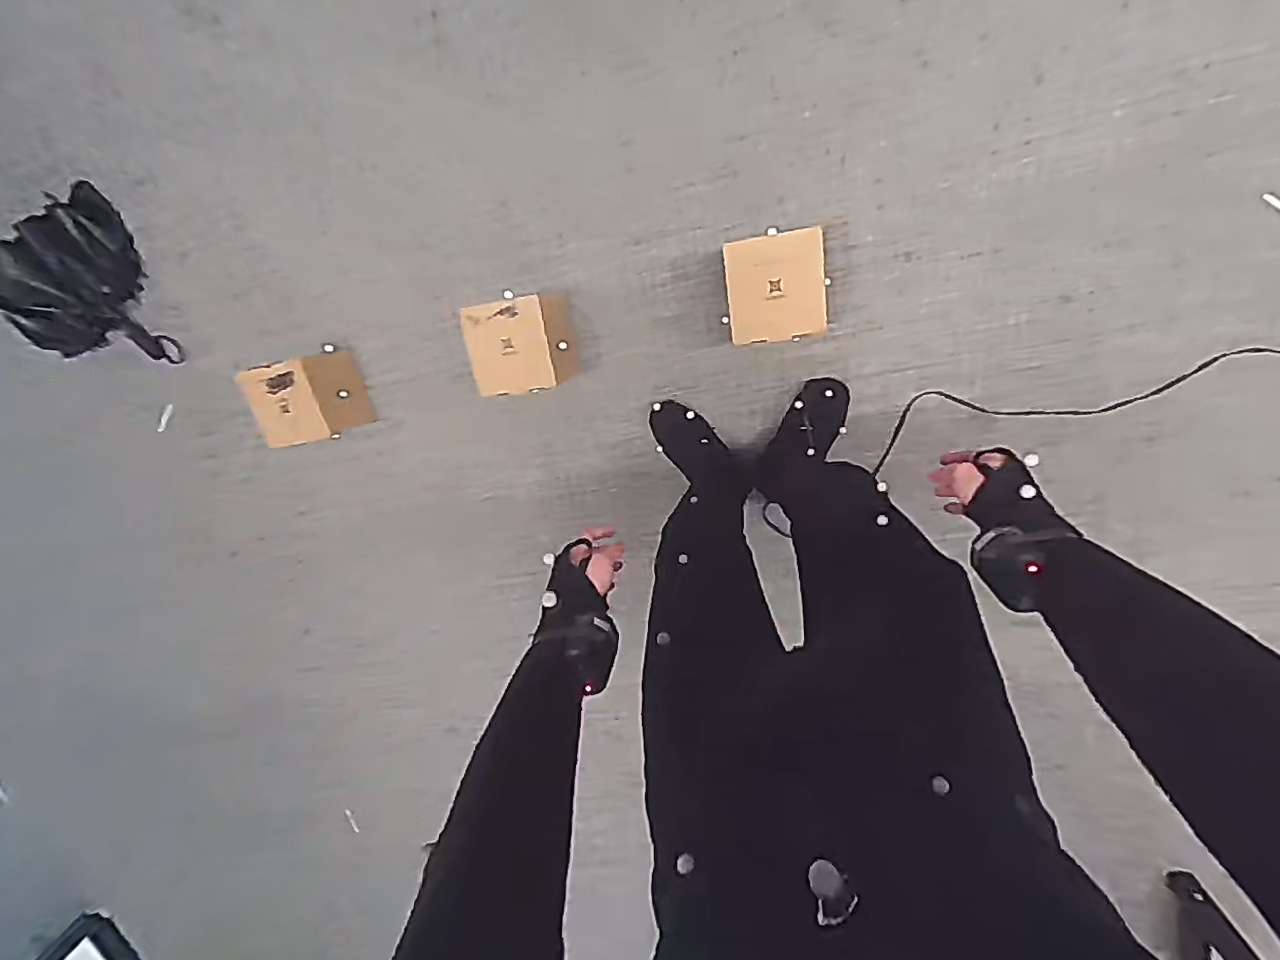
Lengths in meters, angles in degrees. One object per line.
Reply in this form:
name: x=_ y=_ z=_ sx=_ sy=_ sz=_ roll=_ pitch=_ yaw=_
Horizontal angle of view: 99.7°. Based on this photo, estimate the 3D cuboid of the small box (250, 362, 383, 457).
small box: x=-0.739 y=-0.171 z=1.256 sx=0.168 sy=0.176 sz=0.179 roll=-9 pitch=109 yaw=13

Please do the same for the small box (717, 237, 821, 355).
small box: x=0.242 y=-0.346 z=1.023 sx=0.168 sy=0.176 sz=0.179 roll=-8 pitch=107 yaw=12

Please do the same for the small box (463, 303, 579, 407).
small box: x=-0.239 y=-0.266 z=1.136 sx=0.168 sy=0.176 sz=0.179 roll=-7 pitch=109 yaw=12
